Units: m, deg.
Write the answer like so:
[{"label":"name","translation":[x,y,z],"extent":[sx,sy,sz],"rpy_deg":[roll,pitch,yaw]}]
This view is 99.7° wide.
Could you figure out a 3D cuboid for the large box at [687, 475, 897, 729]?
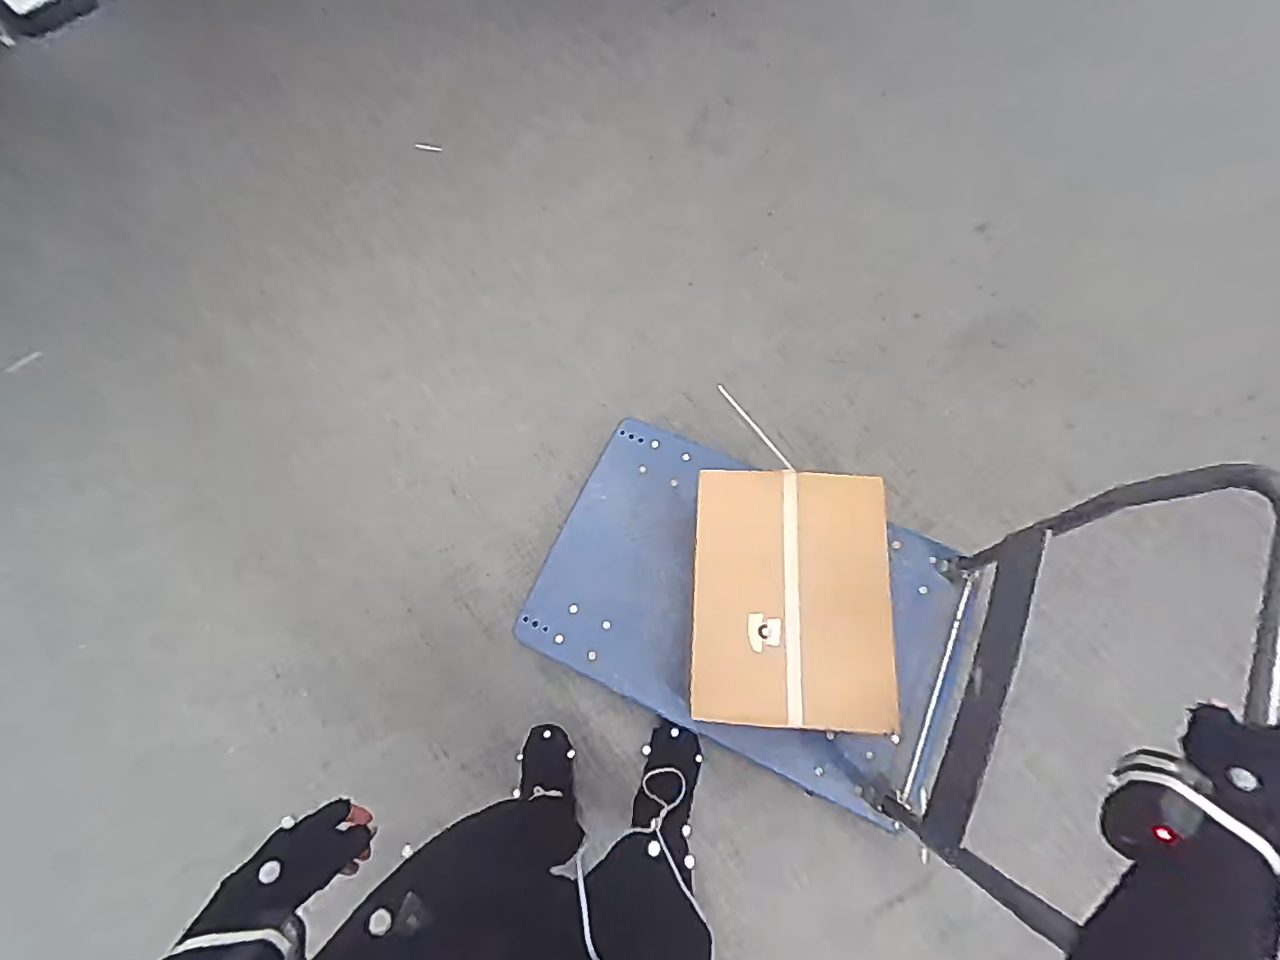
[{"label":"large box","translation":[0.251,0.225,1.023],"extent":[0.320,0.320,0.408],"rpy_deg":[2,73,4]}]
